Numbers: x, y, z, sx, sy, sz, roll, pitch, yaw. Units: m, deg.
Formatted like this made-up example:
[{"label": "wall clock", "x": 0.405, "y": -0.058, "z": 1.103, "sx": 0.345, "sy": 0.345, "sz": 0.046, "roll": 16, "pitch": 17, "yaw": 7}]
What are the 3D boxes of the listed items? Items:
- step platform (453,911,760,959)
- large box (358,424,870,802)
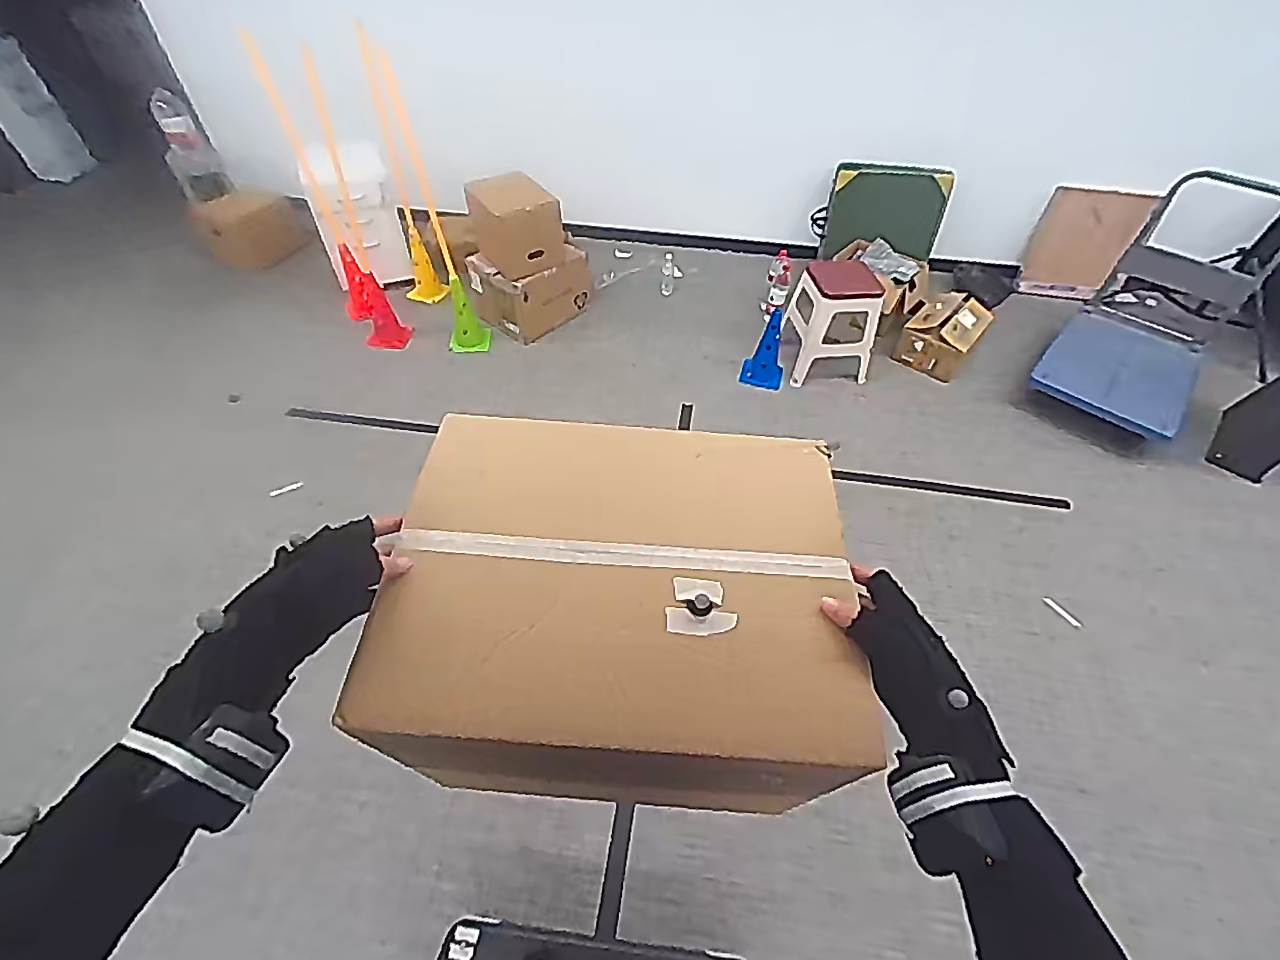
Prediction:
[{"label": "step platform", "x": -0.070, "y": 1.117, "z": 1.118, "sx": 0.684, "sy": 0.204, "sz": 0.286, "roll": 7, "pitch": 49, "yaw": 2}, {"label": "large box", "x": -0.020, "y": 0.162, "z": 0.618, "sx": 0.408, "sy": 0.320, "sz": 0.320, "roll": 5, "pitch": 54, "yaw": 0}]
